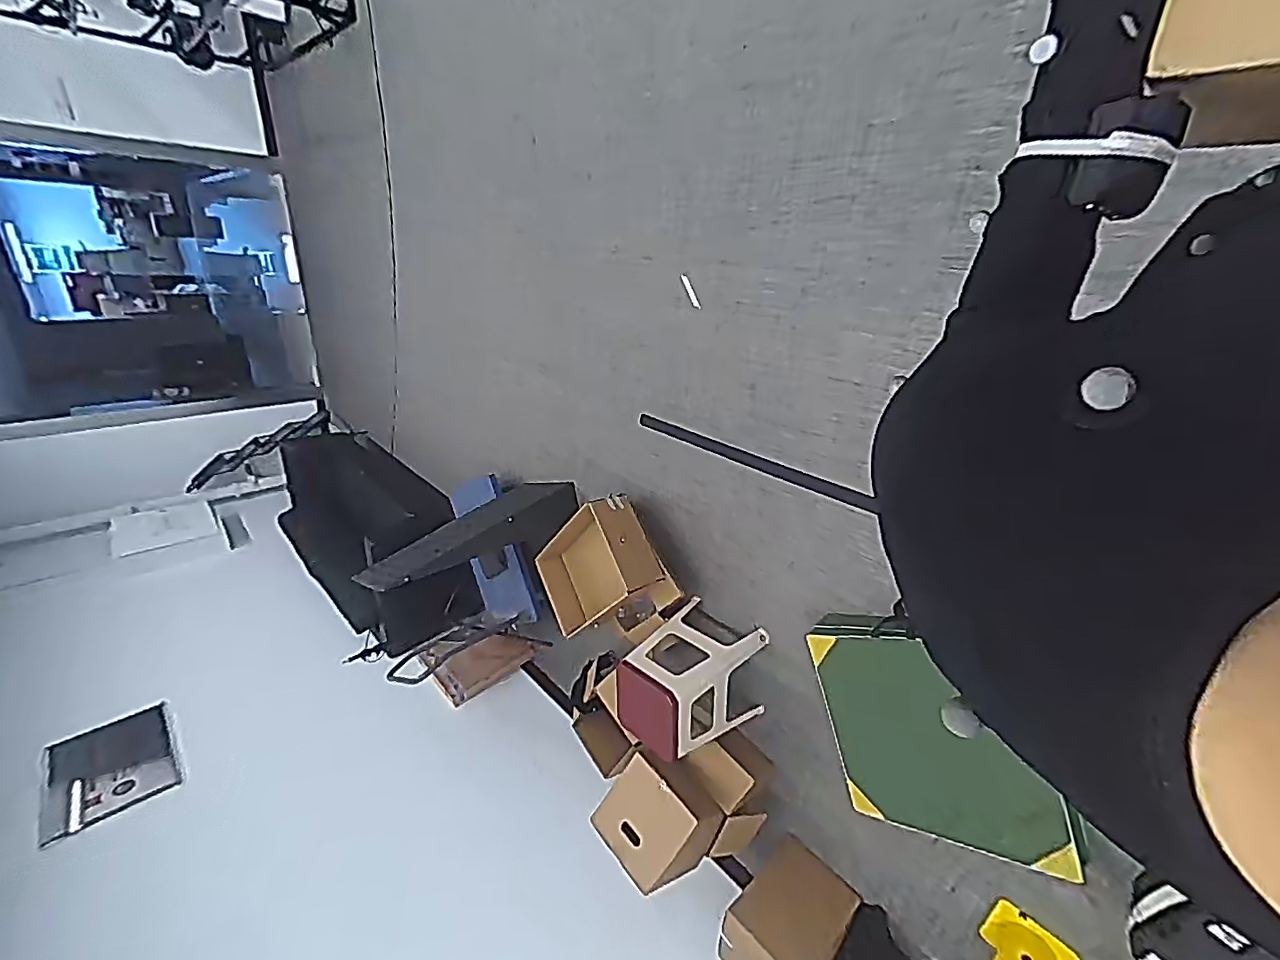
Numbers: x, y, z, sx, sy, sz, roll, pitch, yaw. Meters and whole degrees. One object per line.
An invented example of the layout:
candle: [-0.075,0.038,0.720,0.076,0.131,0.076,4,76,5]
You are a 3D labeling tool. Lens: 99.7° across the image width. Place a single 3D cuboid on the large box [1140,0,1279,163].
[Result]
large box: [0.577,-0.378,0.280,0.408,0.320,0.320,21,120,39]
